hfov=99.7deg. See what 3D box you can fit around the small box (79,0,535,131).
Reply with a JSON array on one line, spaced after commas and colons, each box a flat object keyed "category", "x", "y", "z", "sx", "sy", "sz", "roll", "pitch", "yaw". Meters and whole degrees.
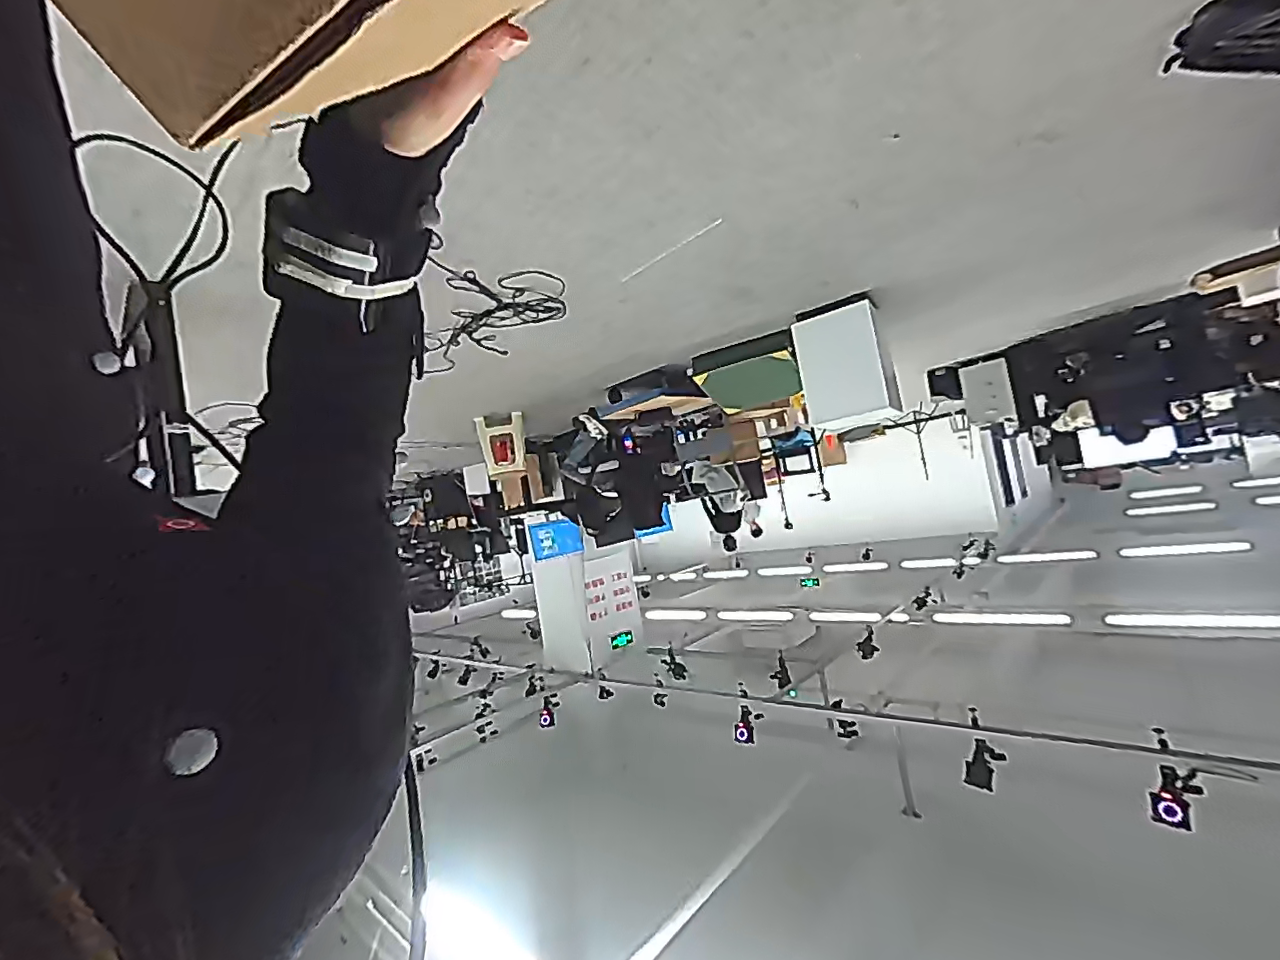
[{"category": "small box", "x": -0.068, "y": -0.224, "z": 0.122, "sx": 0.179, "sy": 0.176, "sz": 0.168, "roll": -10, "pitch": -139, "yaw": 28}]
